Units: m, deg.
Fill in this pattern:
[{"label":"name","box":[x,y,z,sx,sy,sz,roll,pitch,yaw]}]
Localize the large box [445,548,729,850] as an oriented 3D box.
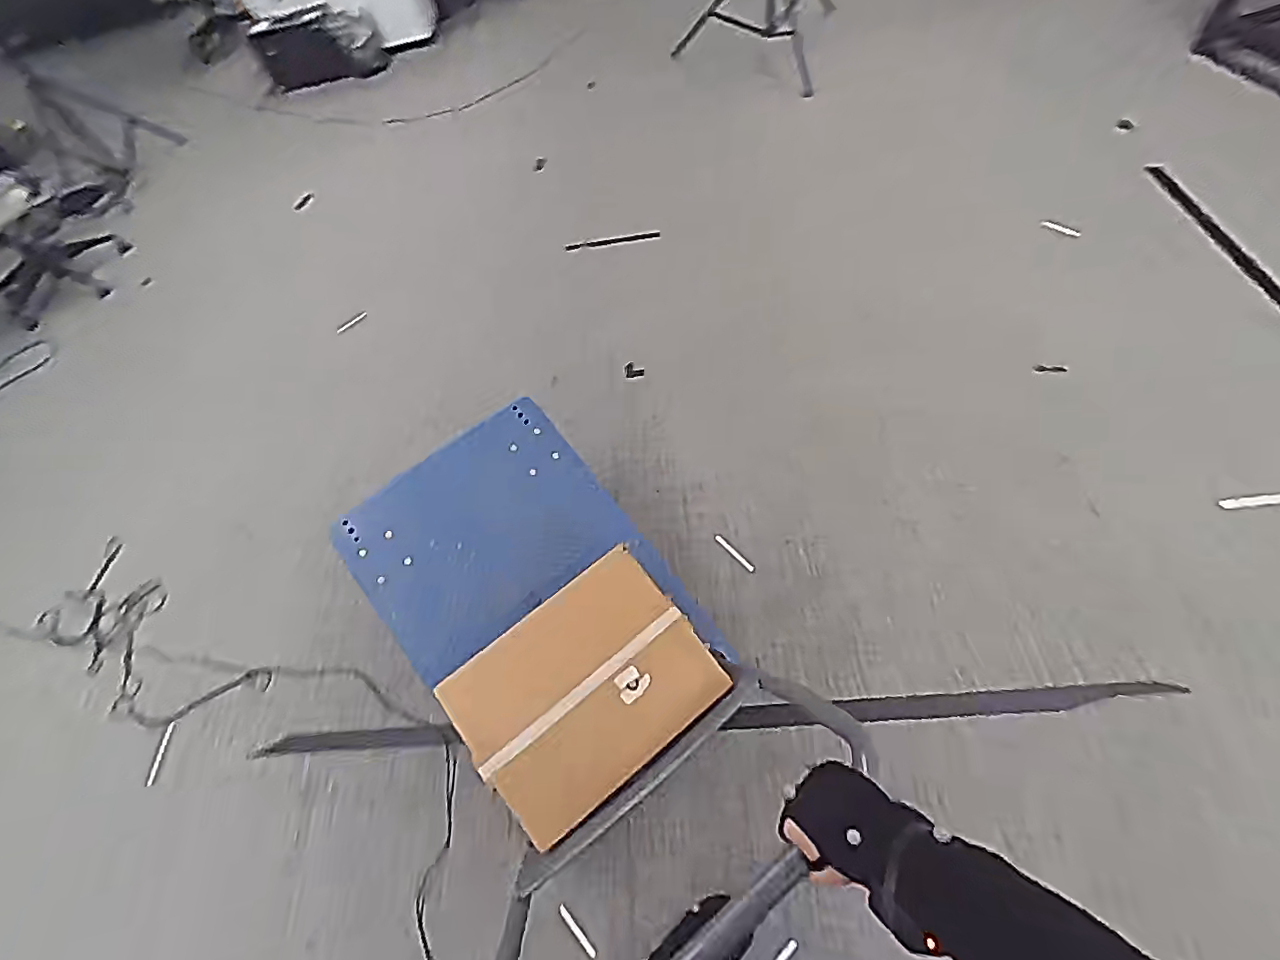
[{"label":"large box","box":[-0.096,0.402,1.069,0.408,0.320,0.320,-38,79,-13]}]
